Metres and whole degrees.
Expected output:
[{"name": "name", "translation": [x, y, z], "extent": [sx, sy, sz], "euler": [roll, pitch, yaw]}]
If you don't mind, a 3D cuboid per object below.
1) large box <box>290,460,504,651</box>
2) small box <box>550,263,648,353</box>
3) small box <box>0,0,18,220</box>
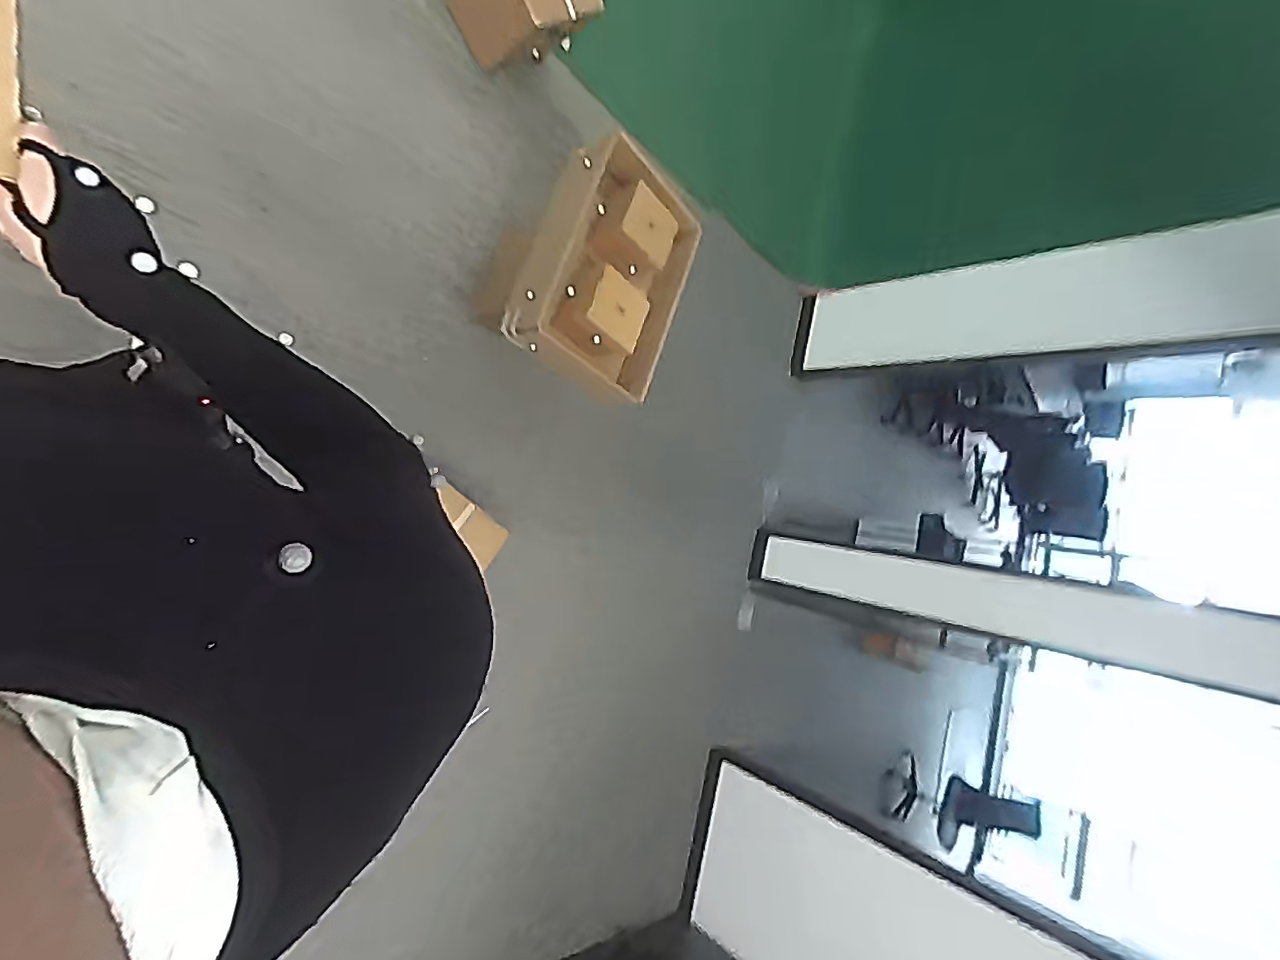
[{"name": "large box", "translation": [-0.668, 0.194, 1.505], "extent": [0.320, 0.320, 0.408], "euler": [50, 60, -37]}, {"name": "small box", "translation": [-0.112, -0.462, 1.487], "extent": [0.179, 0.176, 0.168], "euler": [31, 73, -42]}, {"name": "small box", "translation": [-0.601, -0.325, 0.410], "extent": [0.168, 0.176, 0.179], "euler": [-4, 95, -50]}]
